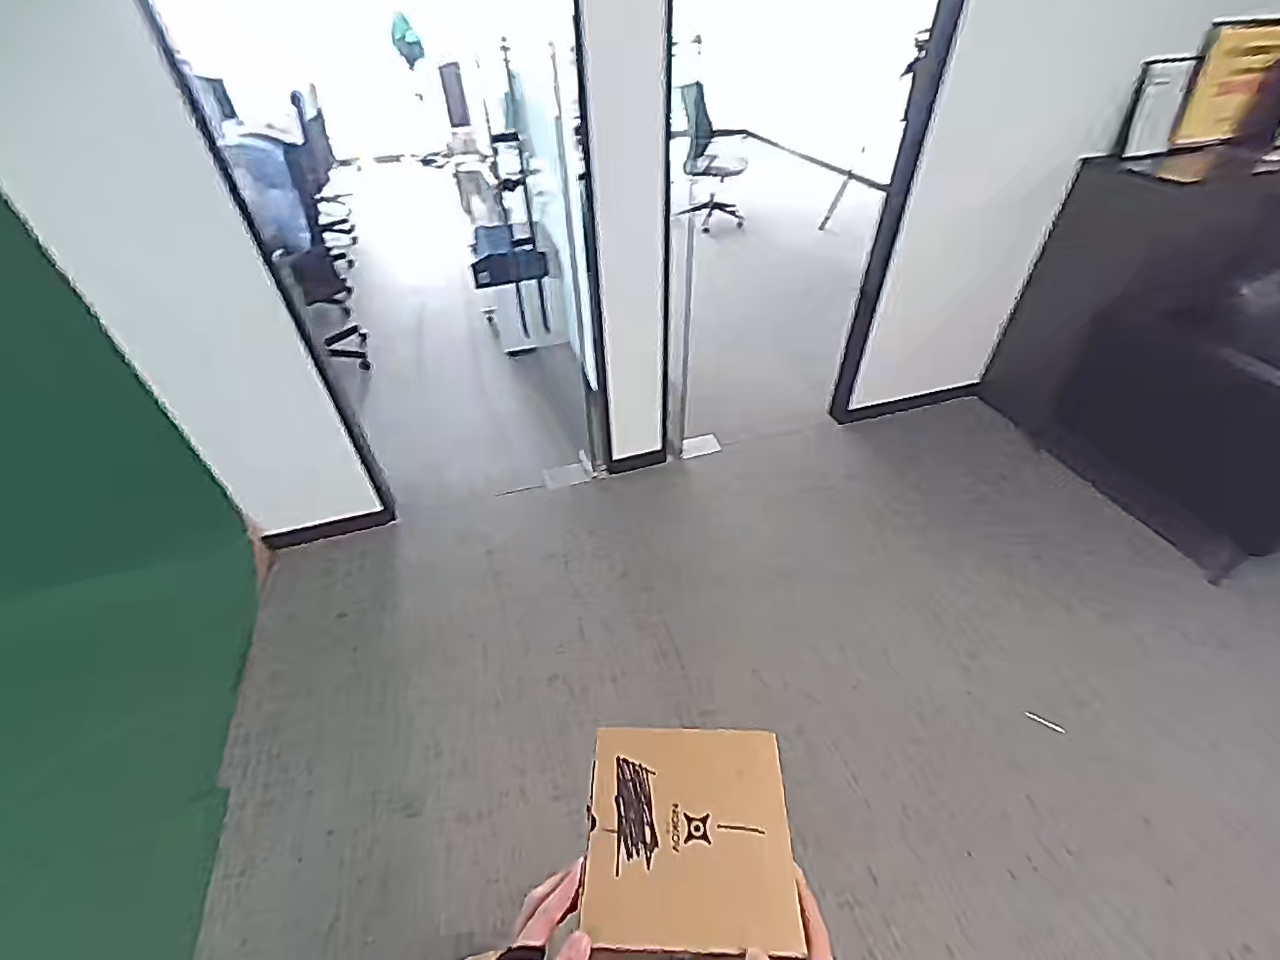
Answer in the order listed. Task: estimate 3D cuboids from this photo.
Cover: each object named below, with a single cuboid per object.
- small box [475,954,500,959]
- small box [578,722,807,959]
[{"bbox_3d":[-0.358,1.104,1.100,0.179,0.176,0.168,-9,43,-10],"label":"small box"},{"bbox_3d":[0.045,0.350,0.516,0.179,0.176,0.168,1,44,3],"label":"small box"}]
